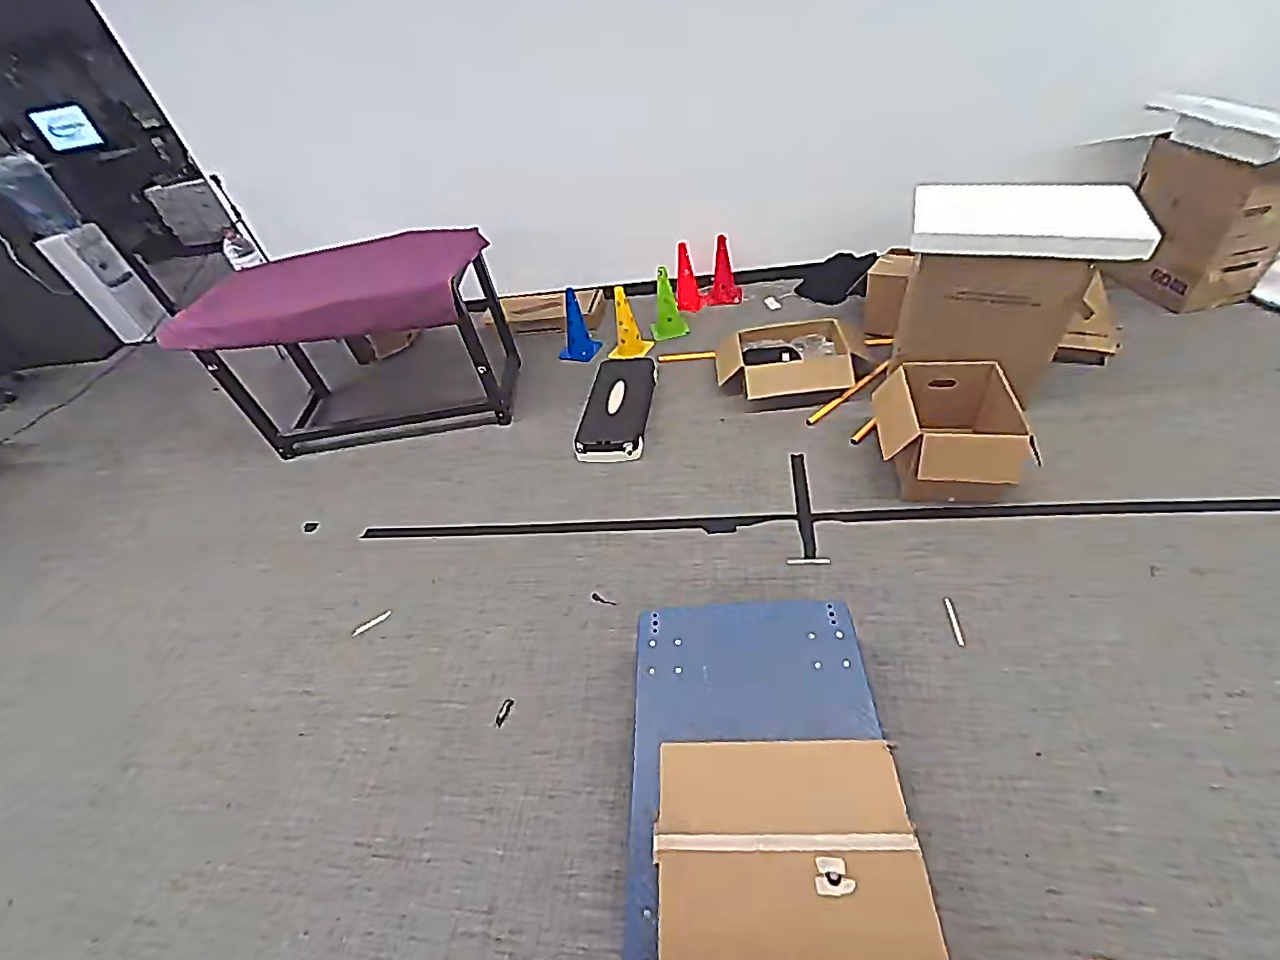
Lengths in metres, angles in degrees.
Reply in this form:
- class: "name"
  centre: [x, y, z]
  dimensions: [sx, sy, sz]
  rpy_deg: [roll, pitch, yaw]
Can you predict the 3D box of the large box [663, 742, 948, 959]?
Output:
- class: "large box"
  centre: [0.254, 0.693, 0.972]
  dimensions: [0.408, 0.320, 0.320]
  rpy_deg: [-4, 45, 7]
